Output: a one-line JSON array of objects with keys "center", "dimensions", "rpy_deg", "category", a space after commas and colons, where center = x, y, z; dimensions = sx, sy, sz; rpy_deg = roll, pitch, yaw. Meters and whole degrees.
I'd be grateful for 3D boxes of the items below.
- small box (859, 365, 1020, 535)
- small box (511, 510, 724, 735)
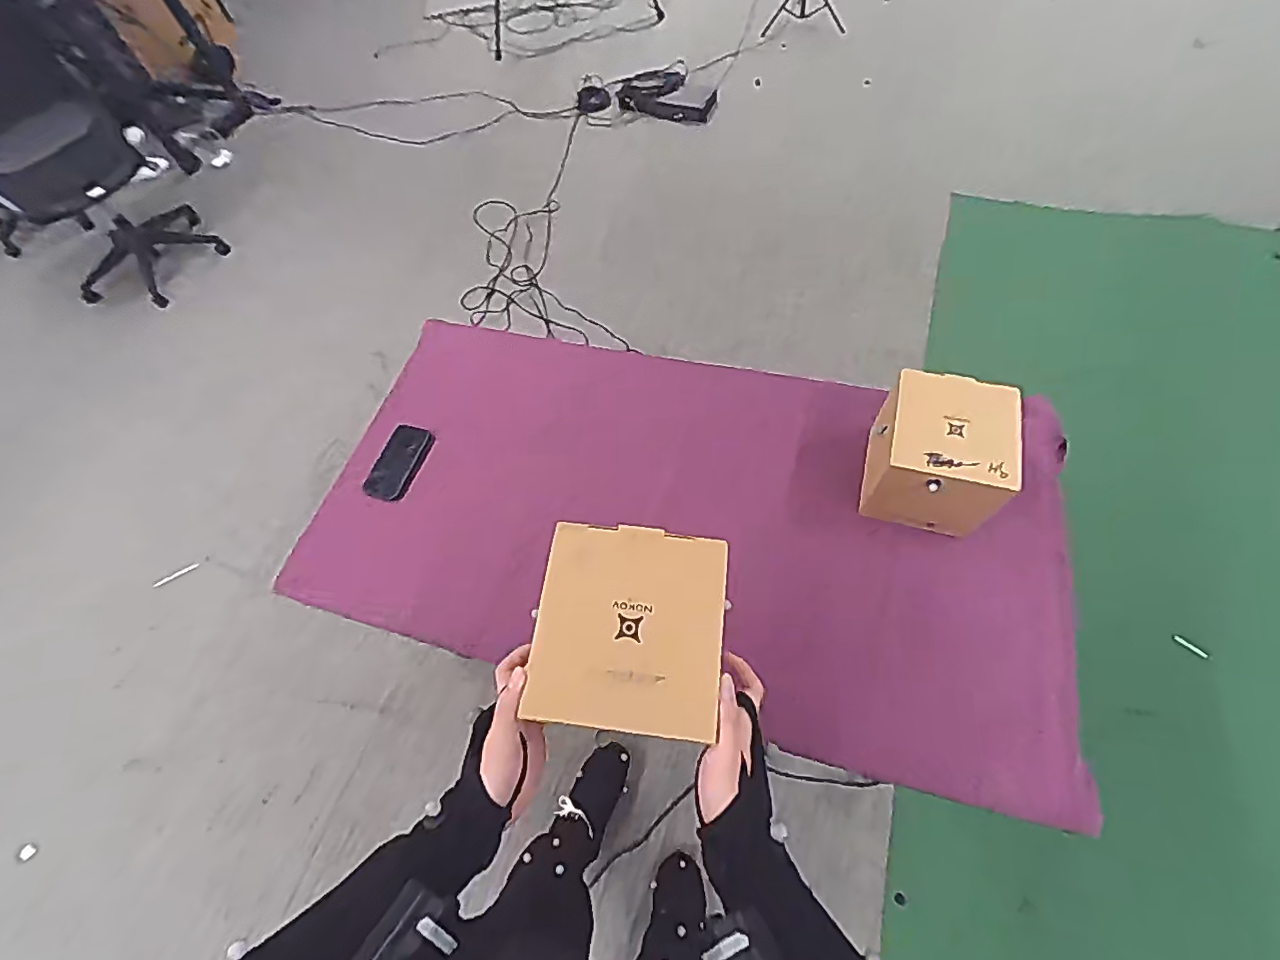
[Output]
[{"center": [0.445, -0.042, 0.821], "dimensions": [0.168, 0.176, 0.179], "rpy_deg": [13, 63, 13], "category": "small box"}, {"center": [-0.014, 0.149, 0.543], "dimensions": [0.168, 0.176, 0.179], "rpy_deg": [7, 66, 4], "category": "small box"}]
